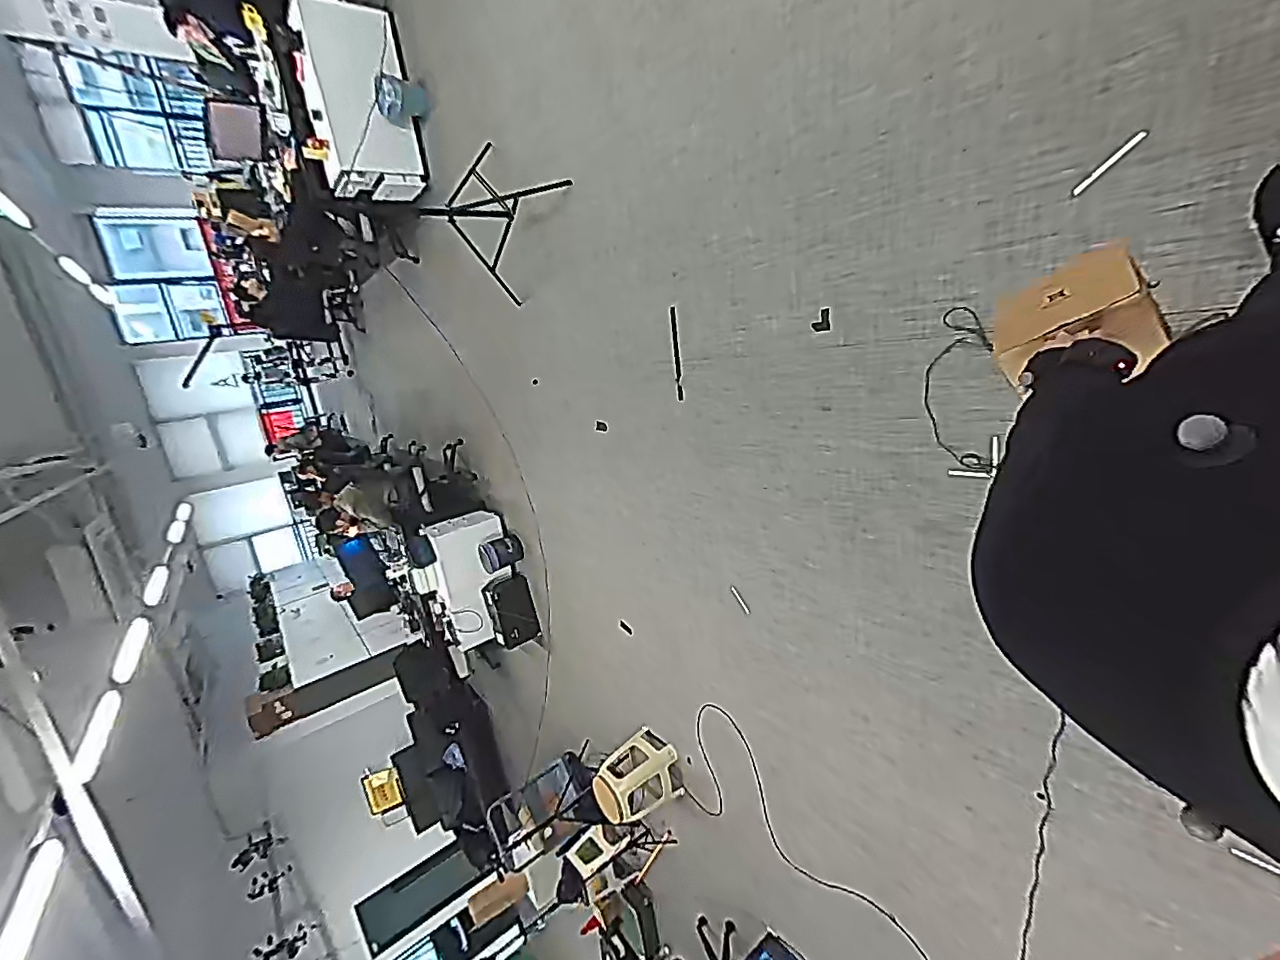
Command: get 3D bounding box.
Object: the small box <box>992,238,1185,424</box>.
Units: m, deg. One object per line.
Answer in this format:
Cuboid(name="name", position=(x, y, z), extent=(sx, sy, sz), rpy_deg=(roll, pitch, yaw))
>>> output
Cuboid(name="small box", position=(0.640, -0.203, 0.784), extent=(0.176, 0.179, 0.168), rpy_deg=(45, 139, -17))
